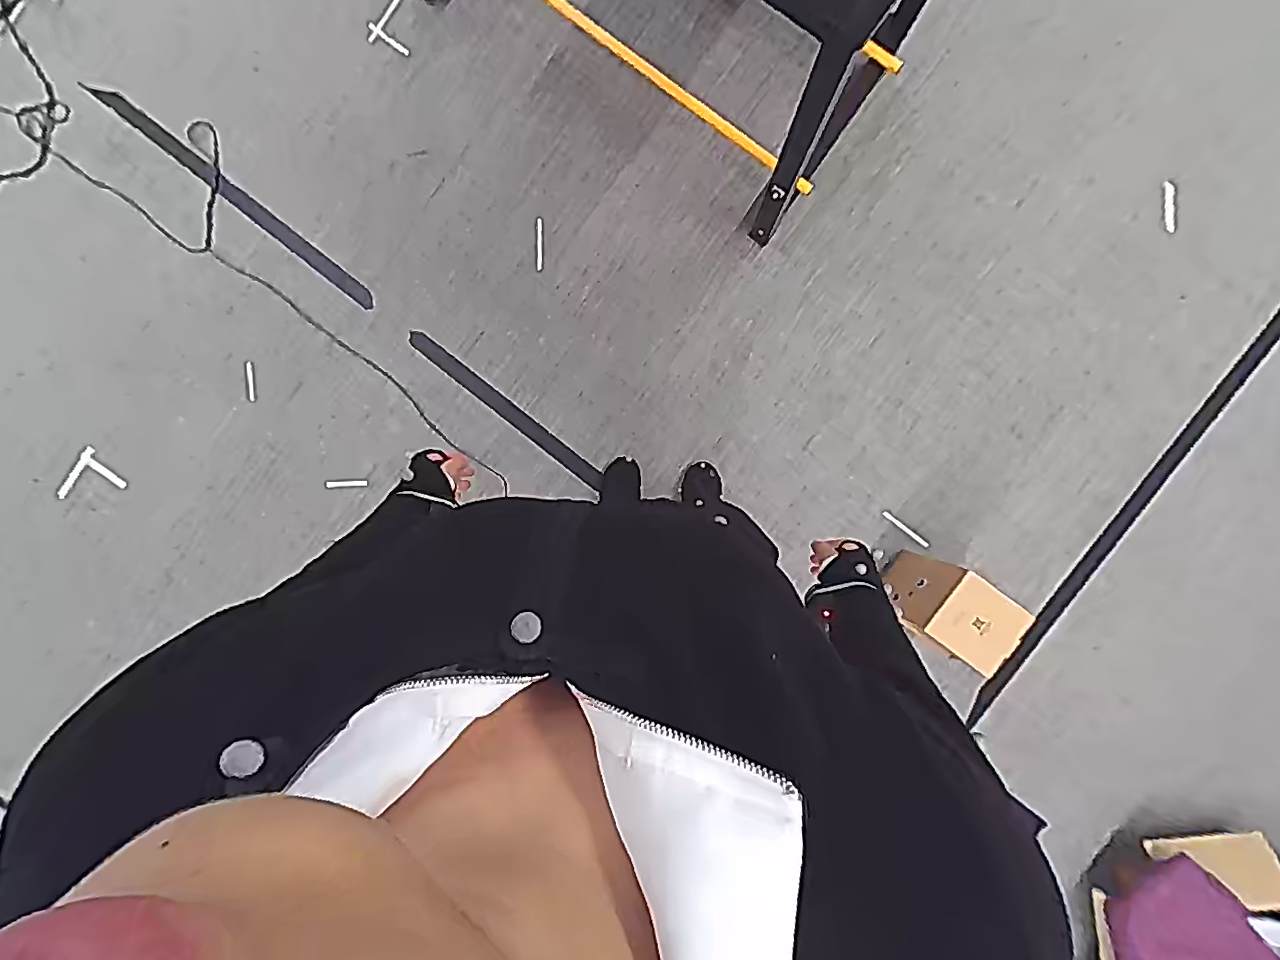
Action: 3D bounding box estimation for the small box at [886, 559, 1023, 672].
[{"bbox_3d":[0.711,0.300,1.243,0.179,0.176,0.168,36,91,2],"label":"small box"}]

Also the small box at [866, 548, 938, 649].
[{"bbox_3d":[0.719,0.300,1.406,0.168,0.176,0.179,36,92,0],"label":"small box"}]
